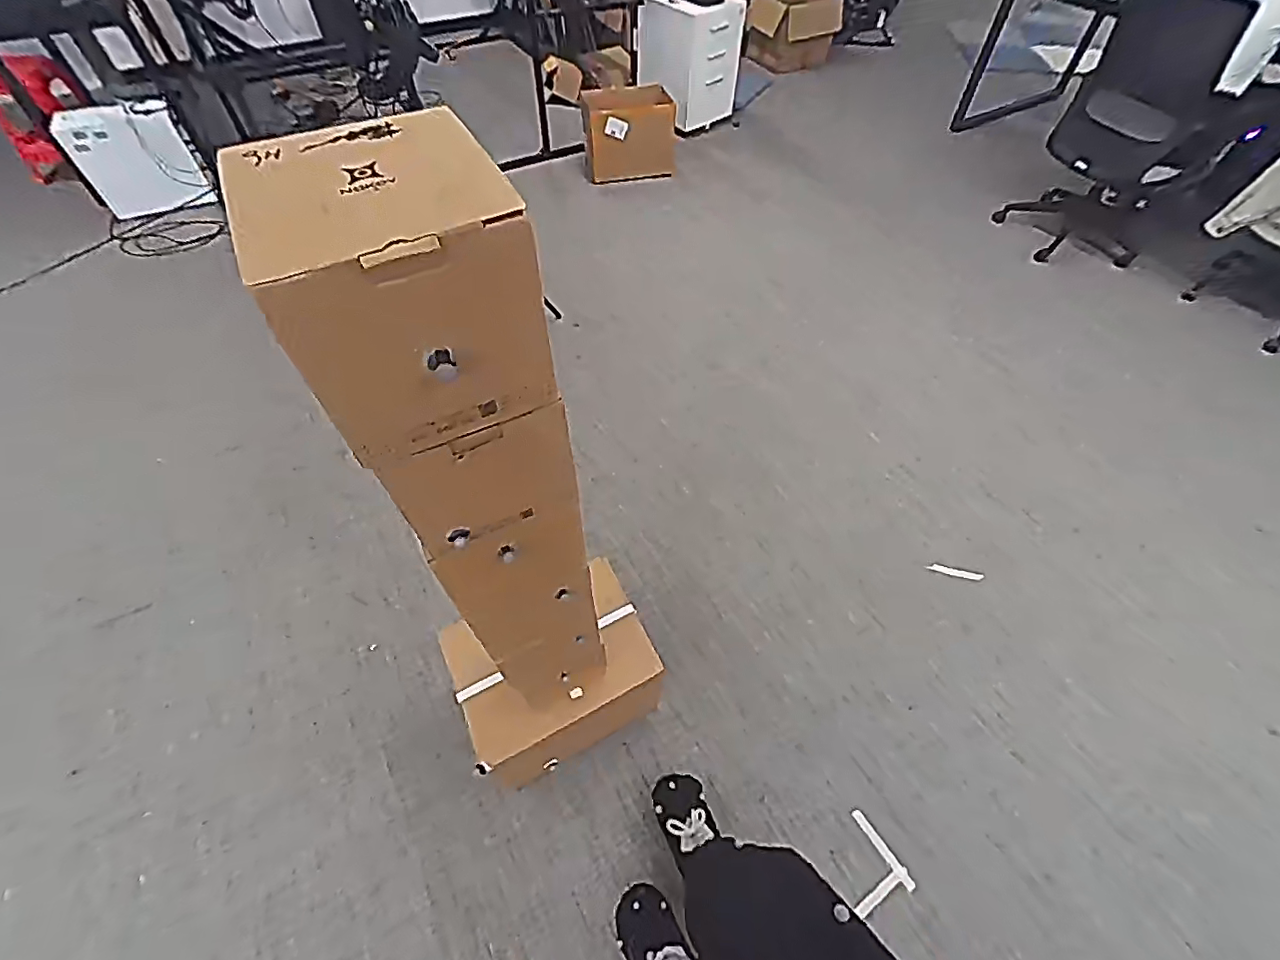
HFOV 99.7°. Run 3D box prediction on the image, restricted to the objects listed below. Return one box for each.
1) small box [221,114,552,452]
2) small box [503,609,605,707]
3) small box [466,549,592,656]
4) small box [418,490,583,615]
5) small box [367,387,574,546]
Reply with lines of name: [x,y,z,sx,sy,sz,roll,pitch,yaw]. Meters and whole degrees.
small box: [-0.180,-0.144,0.423,0.168,0.176,0.179,-24,60,-16]
small box: [-0.182,0.329,1.091,0.179,0.176,0.168,-26,60,-19]
small box: [-0.182,0.138,0.824,0.179,0.176,0.168,-23,58,-16]
small box: [-0.181,0.044,0.692,0.179,0.176,0.168,-23,59,-16]
small box: [-0.178,-0.053,0.559,0.168,0.176,0.179,-23,58,-16]
